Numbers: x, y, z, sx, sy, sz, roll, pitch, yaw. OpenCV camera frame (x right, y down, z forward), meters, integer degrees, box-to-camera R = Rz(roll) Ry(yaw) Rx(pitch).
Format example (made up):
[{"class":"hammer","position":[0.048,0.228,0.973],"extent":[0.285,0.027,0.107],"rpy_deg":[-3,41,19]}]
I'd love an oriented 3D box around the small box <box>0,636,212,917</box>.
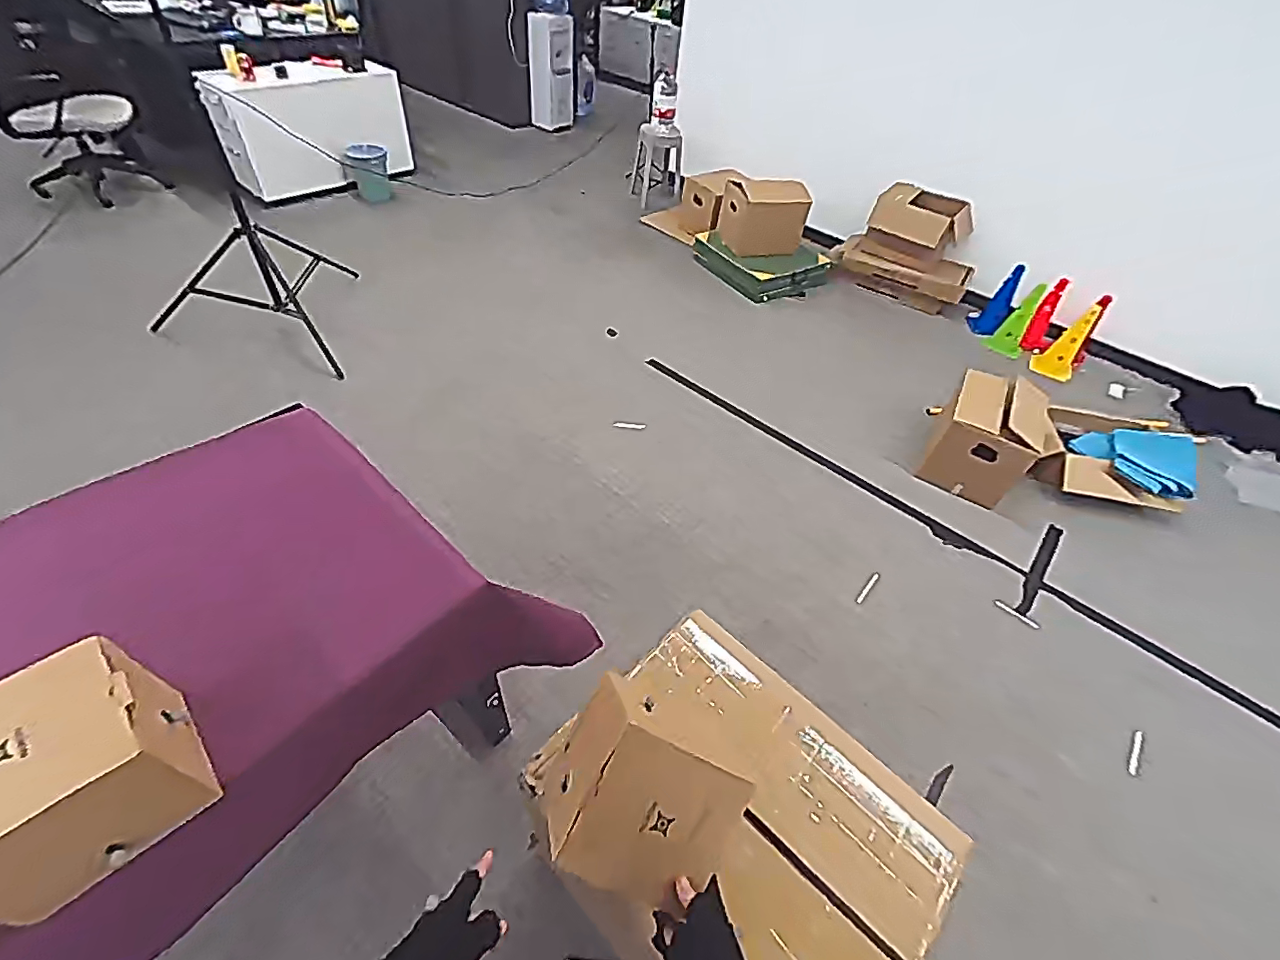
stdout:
[{"class":"small box","position":[-0.595,0.308,0.570],"extent":[0.179,0.176,0.168],"rpy_deg":[-33,58,-33]}]

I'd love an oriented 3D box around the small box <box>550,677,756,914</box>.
[{"class":"small box","position":[0.003,0.367,0.664],"extent":[0.179,0.176,0.168],"rpy_deg":[29,85,-13]}]
